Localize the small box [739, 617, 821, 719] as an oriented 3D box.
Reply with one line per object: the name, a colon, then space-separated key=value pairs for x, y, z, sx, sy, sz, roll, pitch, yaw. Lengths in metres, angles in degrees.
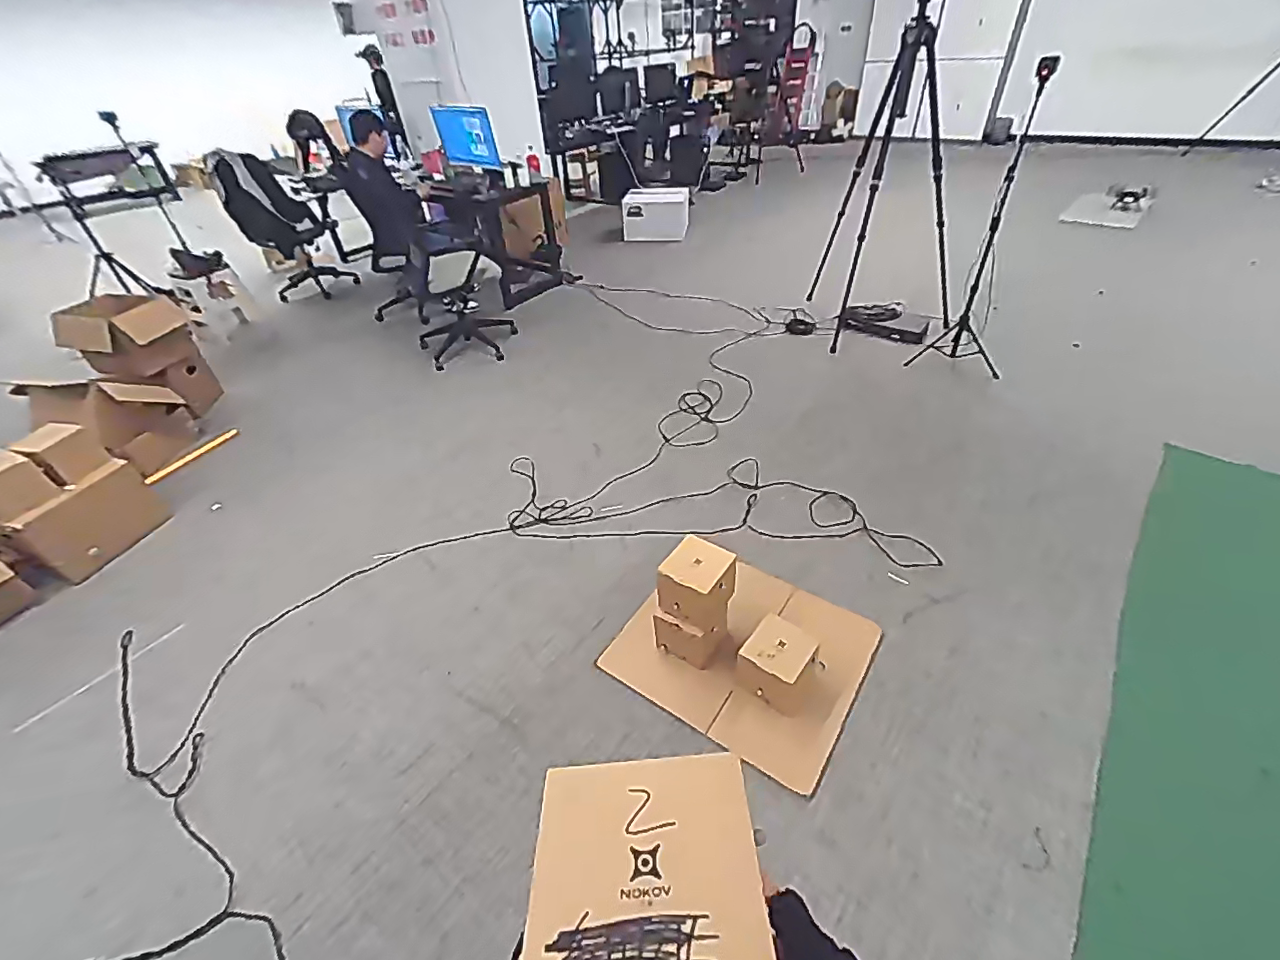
small box: x=0.392 y=0.536 z=1.541 sx=0.168 sy=0.176 sz=0.179 roll=25 pitch=48 yaw=33

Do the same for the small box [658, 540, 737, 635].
small box: x=0.165 y=0.313 z=1.579 sx=0.168 sy=0.176 sz=0.179 roll=22 pitch=46 yaw=29

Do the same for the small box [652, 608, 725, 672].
small box: x=0.157 y=0.454 z=1.666 sx=0.168 sy=0.176 sz=0.179 roll=20 pitch=45 yaw=28
